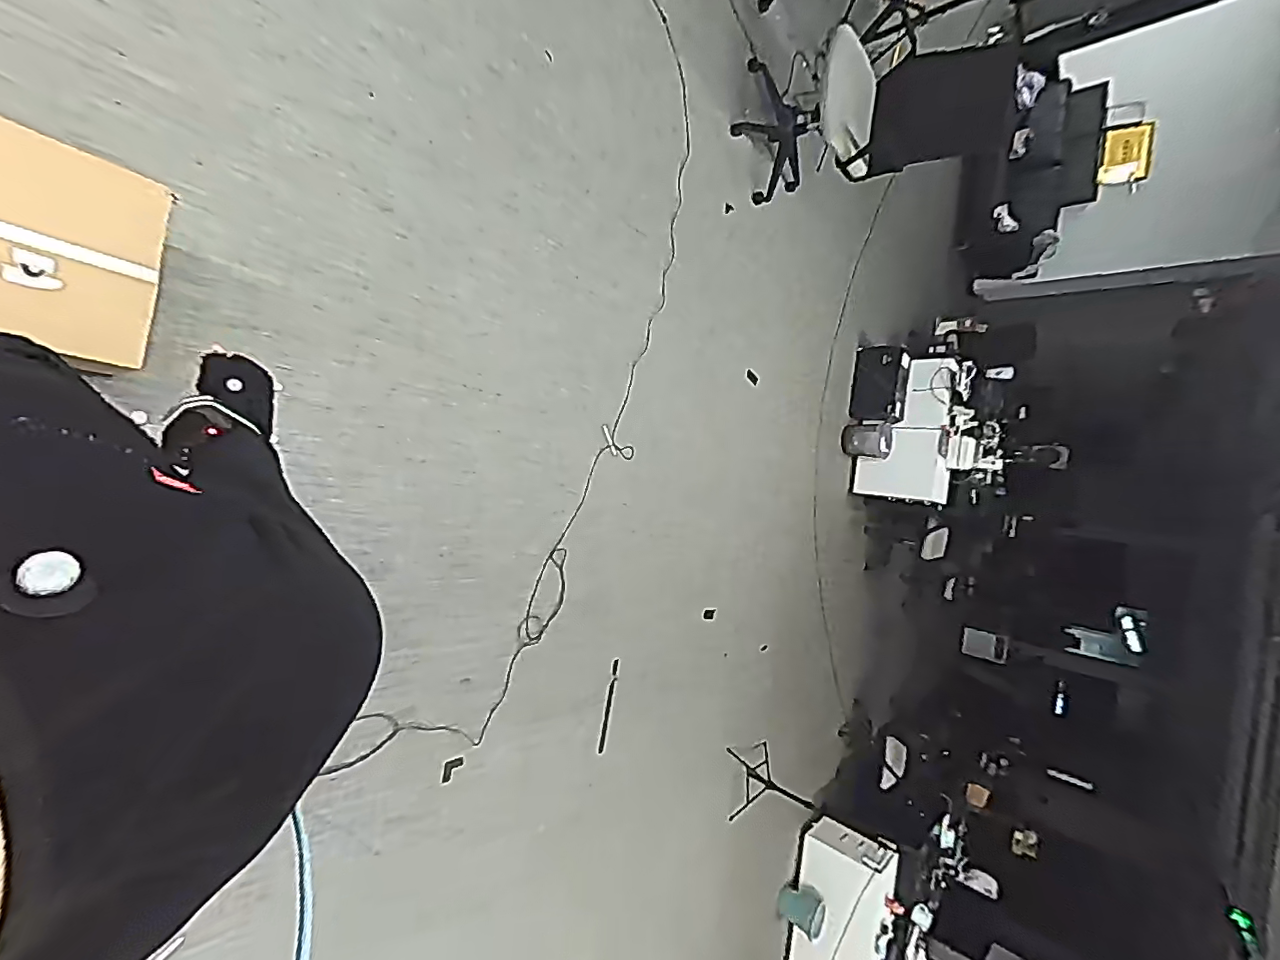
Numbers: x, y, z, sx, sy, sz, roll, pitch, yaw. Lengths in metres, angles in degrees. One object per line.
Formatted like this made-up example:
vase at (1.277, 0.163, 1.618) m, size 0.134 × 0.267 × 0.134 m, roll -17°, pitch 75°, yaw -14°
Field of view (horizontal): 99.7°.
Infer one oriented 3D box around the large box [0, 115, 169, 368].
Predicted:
large box at (-1.052, -0.382, 0.847) m, size 0.408 × 0.320 × 0.320 m, roll 11°, pitch 88°, yaw -50°
